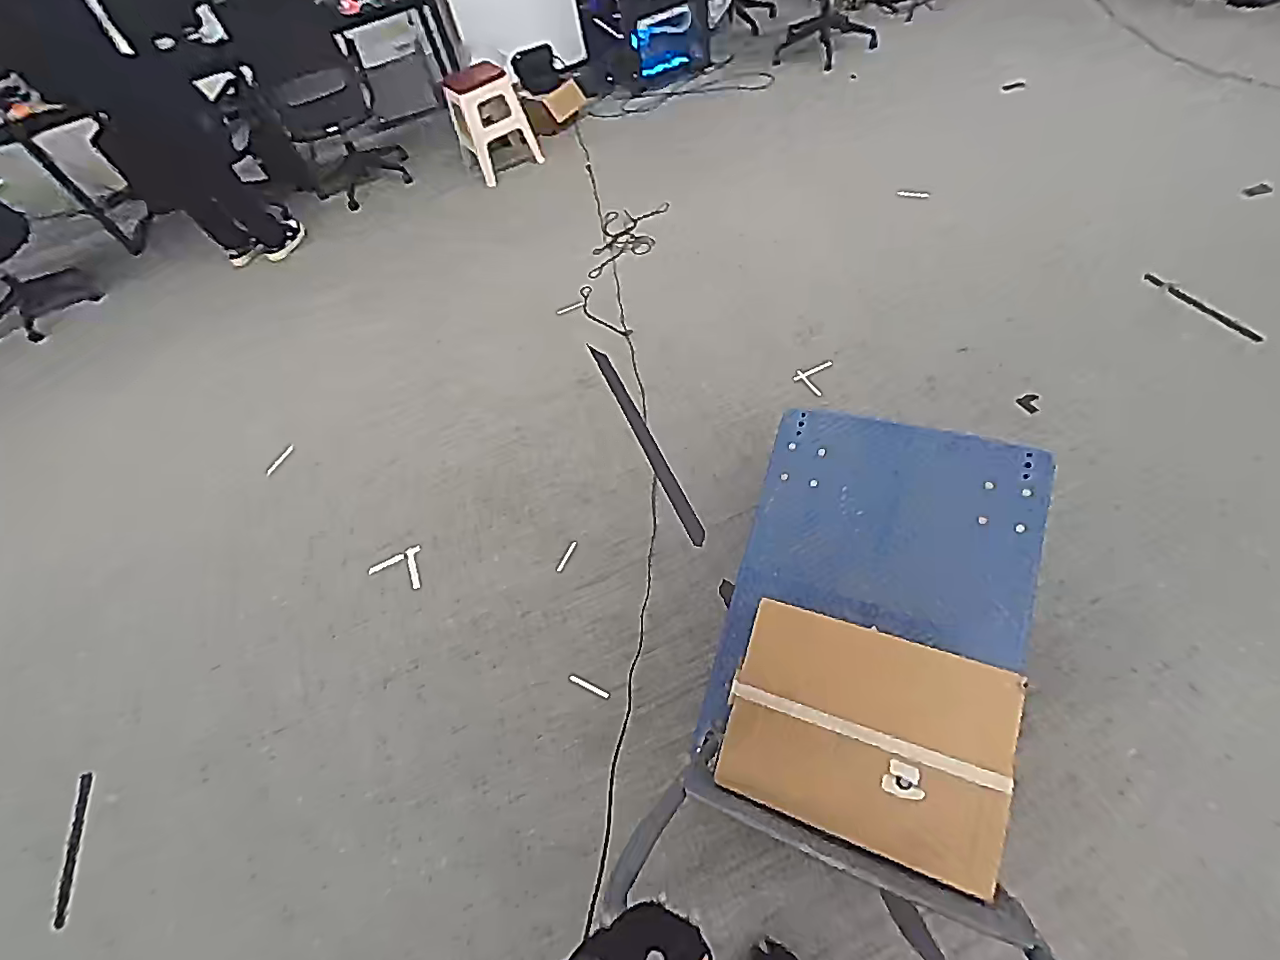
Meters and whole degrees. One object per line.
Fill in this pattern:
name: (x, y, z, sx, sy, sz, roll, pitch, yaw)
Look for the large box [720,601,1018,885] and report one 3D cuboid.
large box: (0.394, 0.439, 1.000, 0.408, 0.320, 0.320, 14, 78, 20)
